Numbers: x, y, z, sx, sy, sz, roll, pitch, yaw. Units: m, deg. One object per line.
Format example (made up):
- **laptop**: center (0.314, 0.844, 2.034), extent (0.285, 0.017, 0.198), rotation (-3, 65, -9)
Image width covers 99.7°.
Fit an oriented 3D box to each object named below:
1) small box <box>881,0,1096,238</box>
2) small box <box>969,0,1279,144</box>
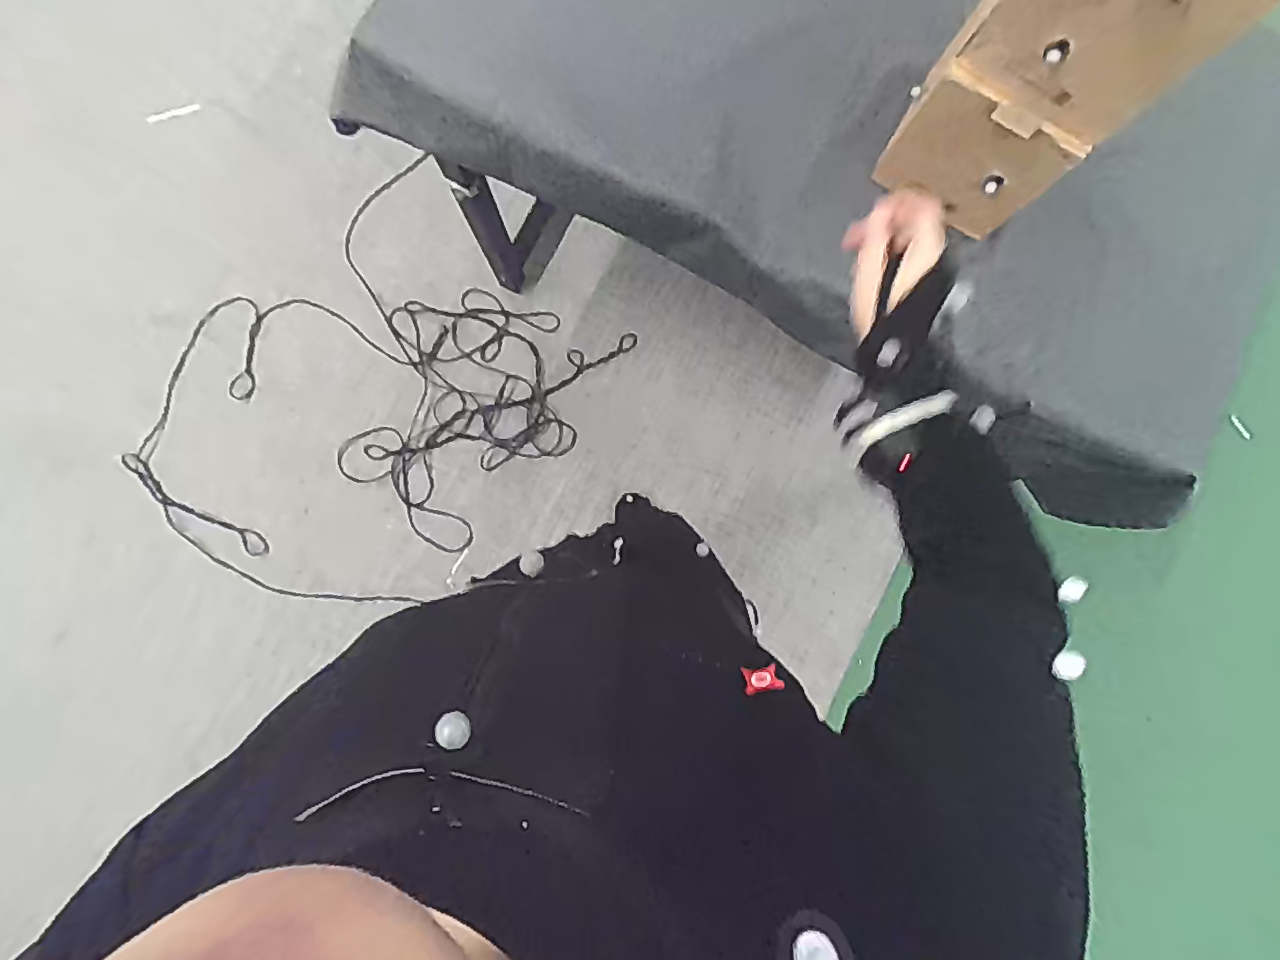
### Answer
- **small box**: center (0.414, -0.422, 0.626), extent (0.168, 0.176, 0.179), rotation (30, 84, -1)
- **small box**: center (0.433, -0.448, 0.466), extent (0.168, 0.176, 0.179), rotation (31, 85, -1)
